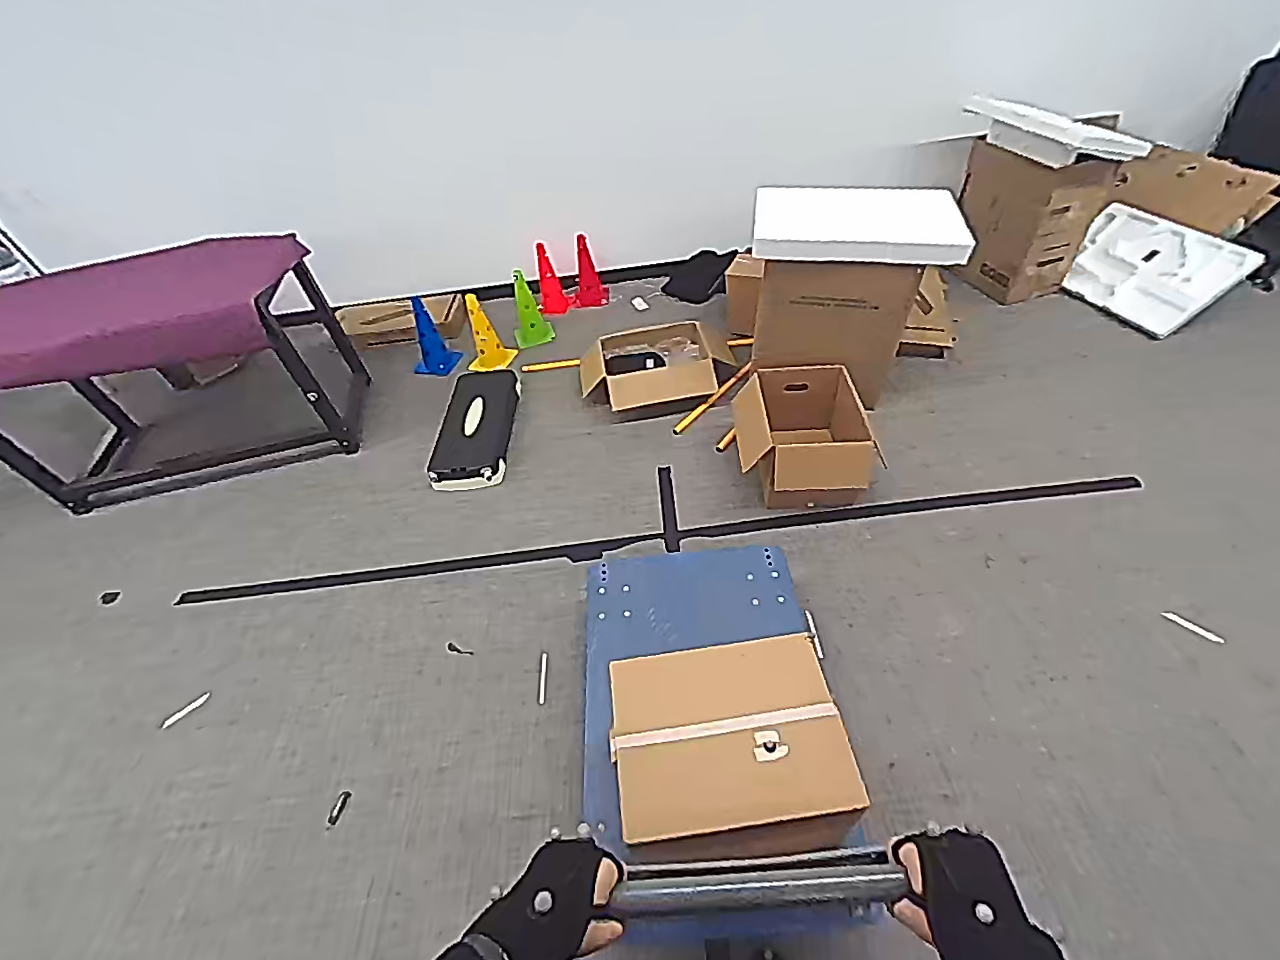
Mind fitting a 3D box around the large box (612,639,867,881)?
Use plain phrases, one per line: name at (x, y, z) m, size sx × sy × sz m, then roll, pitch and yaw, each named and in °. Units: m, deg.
large box at (0.168, 0.559, 1.081) m, size 0.408 × 0.320 × 0.320 m, roll -8°, pitch 46°, yaw -2°
